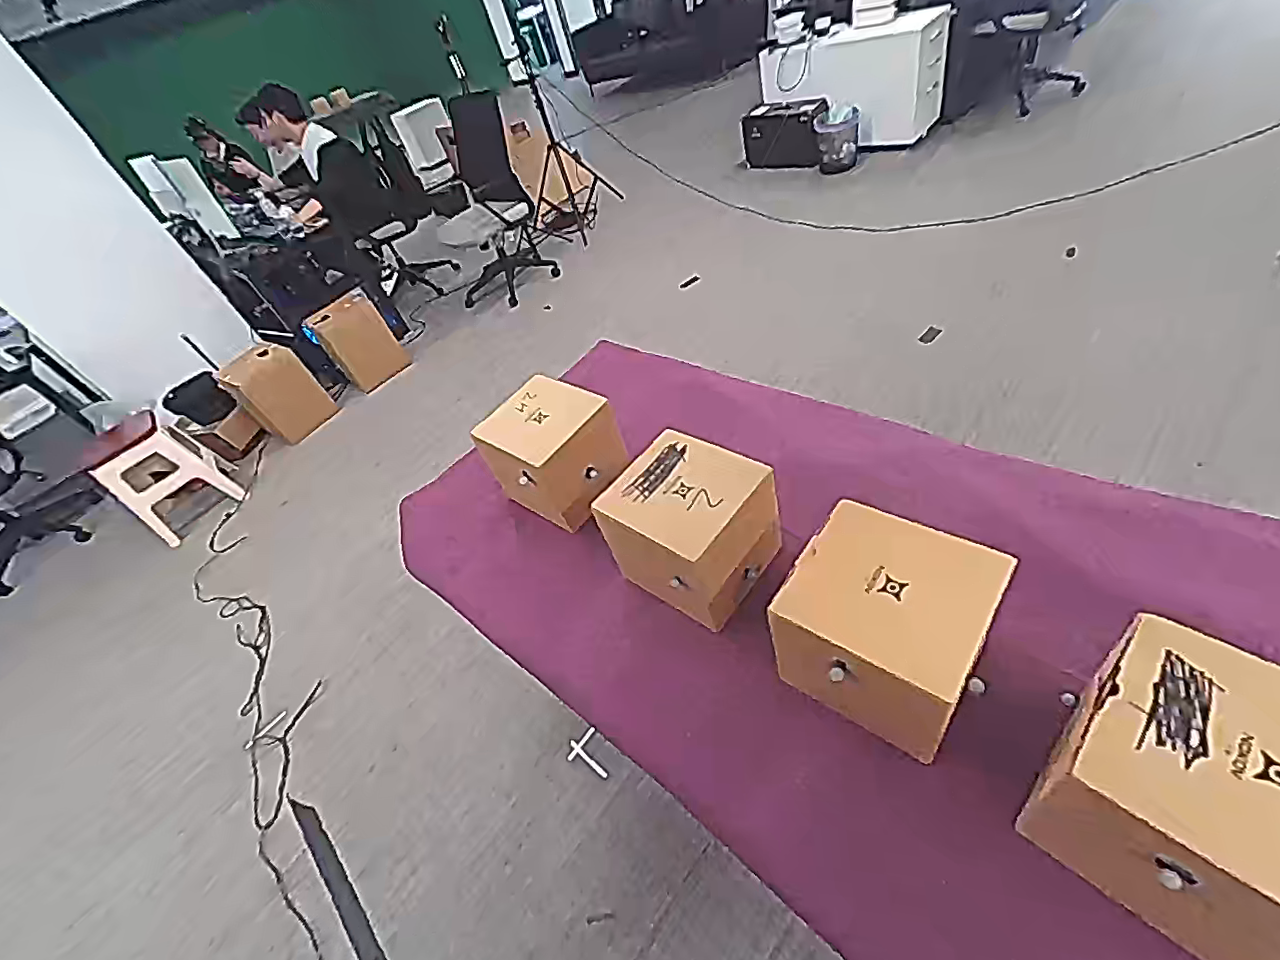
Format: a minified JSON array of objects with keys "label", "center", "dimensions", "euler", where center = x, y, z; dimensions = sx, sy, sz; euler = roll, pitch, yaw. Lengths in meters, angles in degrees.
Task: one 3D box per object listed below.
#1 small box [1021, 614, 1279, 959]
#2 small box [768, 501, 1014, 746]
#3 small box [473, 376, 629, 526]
[{"label":"small box","center":[0.439,0.248,0.424],"dimensions":[0.168,0.176,0.179],"euler":[-42,48,-22]},{"label":"small box","center":[0.263,0.158,0.586],"dimensions":[0.179,0.176,0.168],"euler":[23,59,36]},{"label":"small box","center":[-0.143,-0.047,0.928],"dimensions":[0.179,0.176,0.168],"euler":[24,59,34]}]
